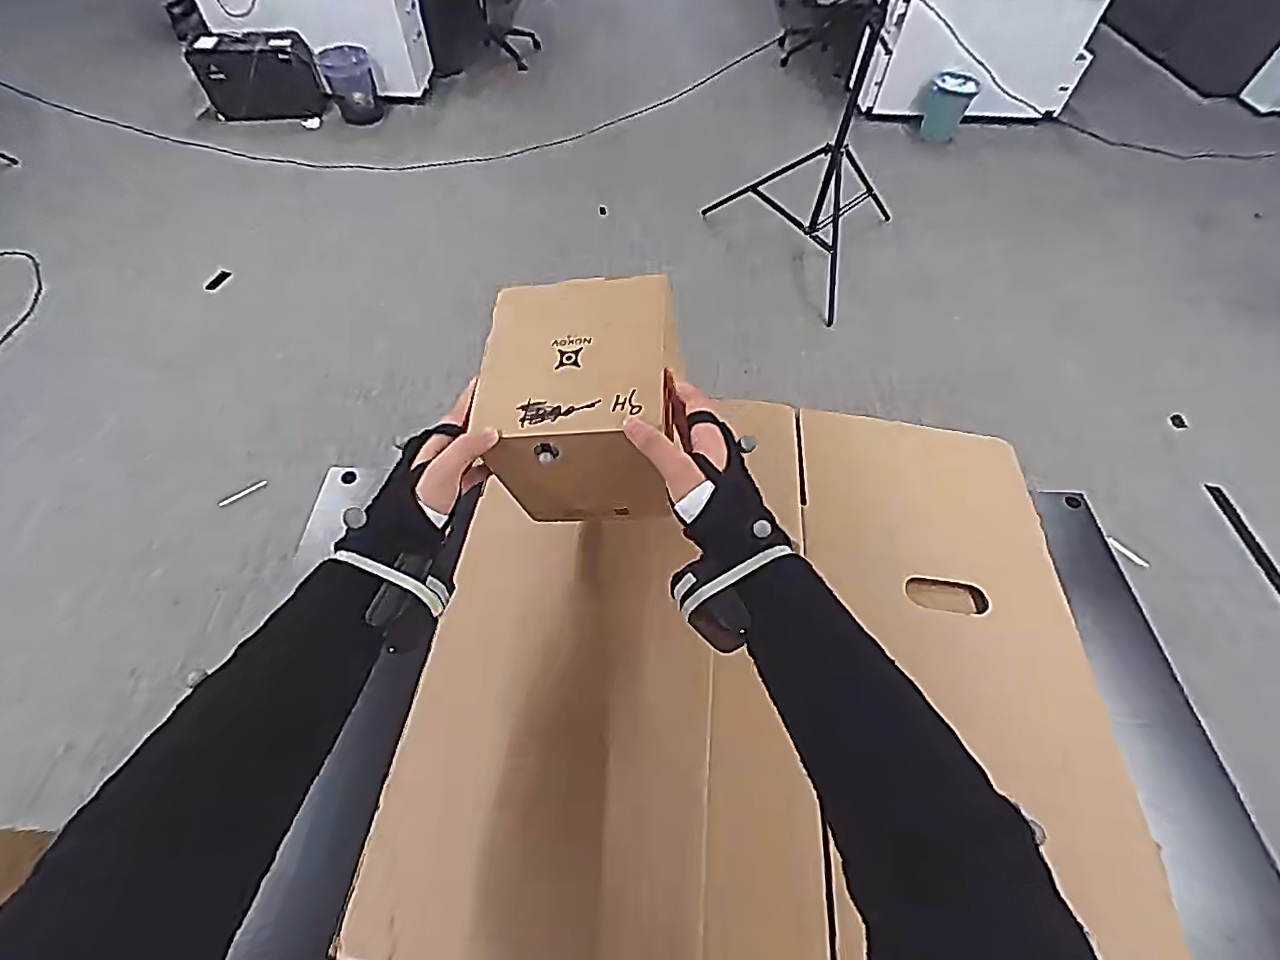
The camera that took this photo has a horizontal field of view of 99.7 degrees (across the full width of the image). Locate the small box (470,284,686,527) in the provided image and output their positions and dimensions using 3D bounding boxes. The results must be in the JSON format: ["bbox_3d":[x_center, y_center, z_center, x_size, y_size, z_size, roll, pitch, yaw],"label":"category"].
[{"bbox_3d":[-0.045,-0.067,0.547,0.168,0.176,0.179,-3,60,10],"label":"small box"}]

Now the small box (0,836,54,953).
[{"bbox_3d":[-1.185,0.718,0.922,0.168,0.176,0.179,-4,55,-6],"label":"small box"}]
